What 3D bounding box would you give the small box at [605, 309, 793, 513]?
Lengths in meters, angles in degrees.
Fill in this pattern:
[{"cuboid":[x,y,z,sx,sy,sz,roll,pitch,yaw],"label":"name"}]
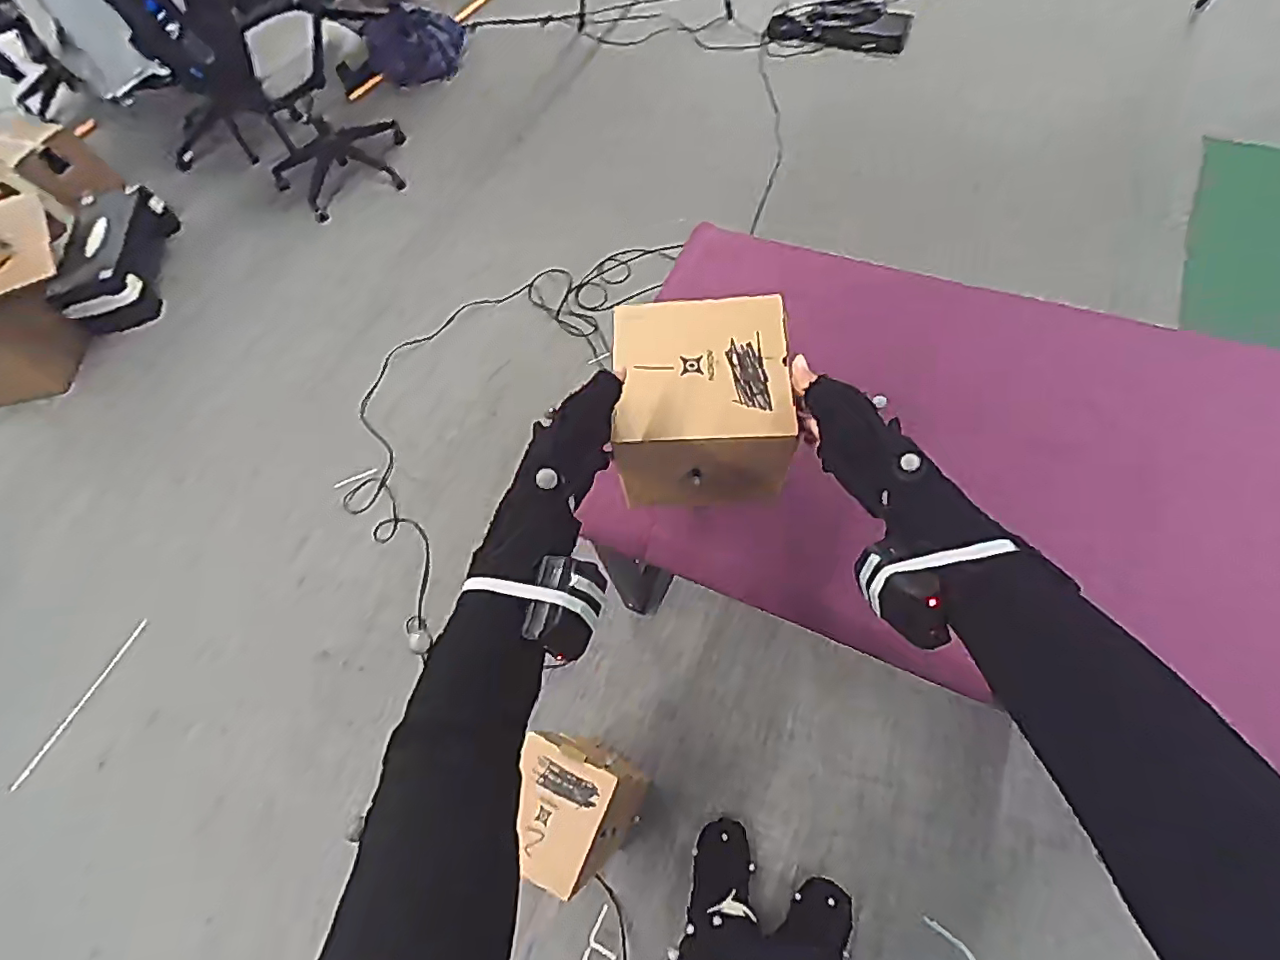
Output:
[{"cuboid":[0.060,-0.068,0.604,0.179,0.176,0.168,-1,66,4],"label":"small box"}]
